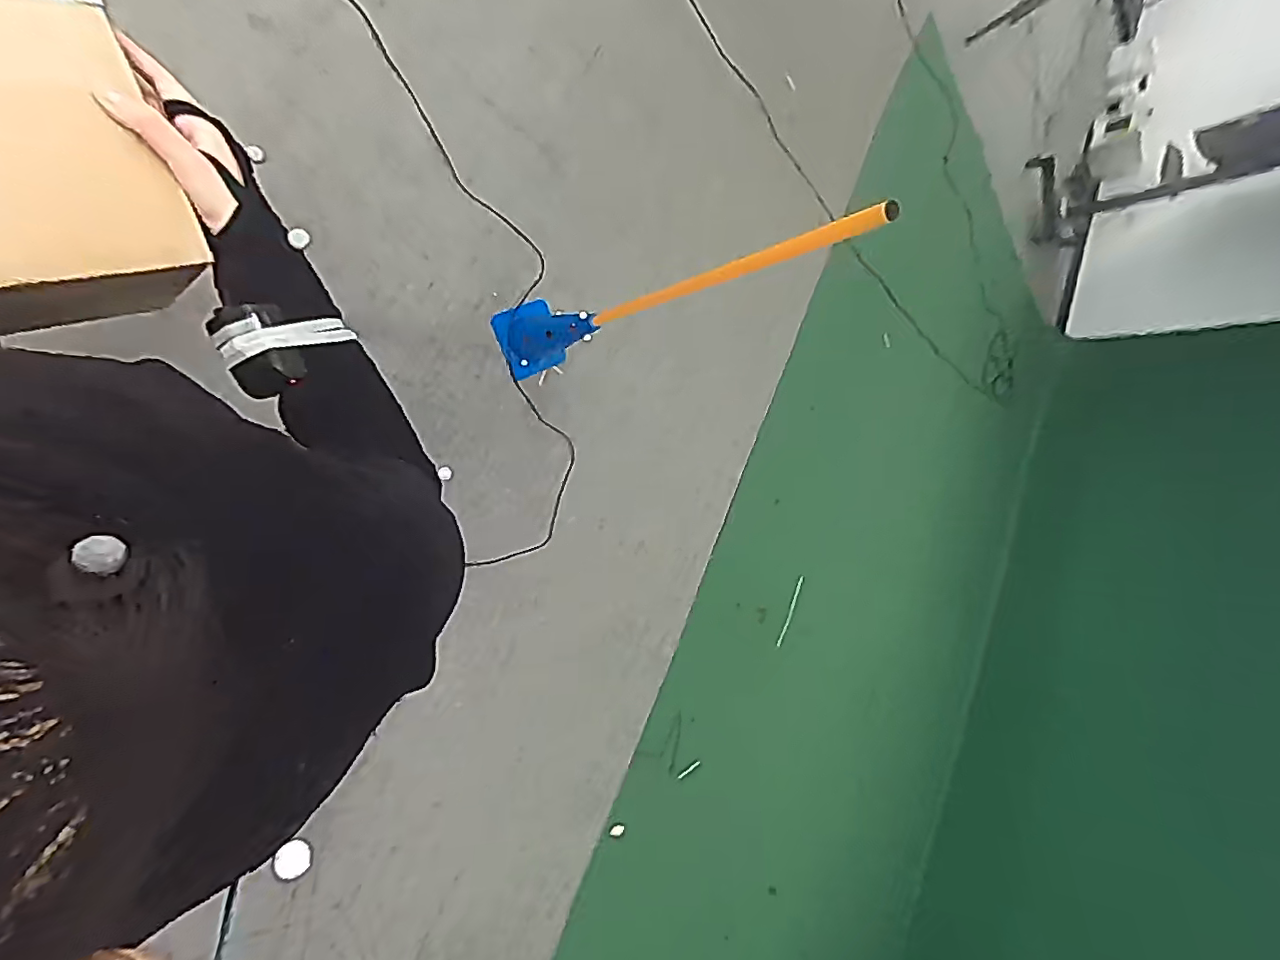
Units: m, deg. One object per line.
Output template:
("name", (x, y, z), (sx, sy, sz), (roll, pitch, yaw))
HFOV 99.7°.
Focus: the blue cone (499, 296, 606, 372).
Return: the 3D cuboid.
("blue cone", (-0.209, -0.425, 1.495), (0.192, 0.380, 0.193), (-36, 116, -30))
